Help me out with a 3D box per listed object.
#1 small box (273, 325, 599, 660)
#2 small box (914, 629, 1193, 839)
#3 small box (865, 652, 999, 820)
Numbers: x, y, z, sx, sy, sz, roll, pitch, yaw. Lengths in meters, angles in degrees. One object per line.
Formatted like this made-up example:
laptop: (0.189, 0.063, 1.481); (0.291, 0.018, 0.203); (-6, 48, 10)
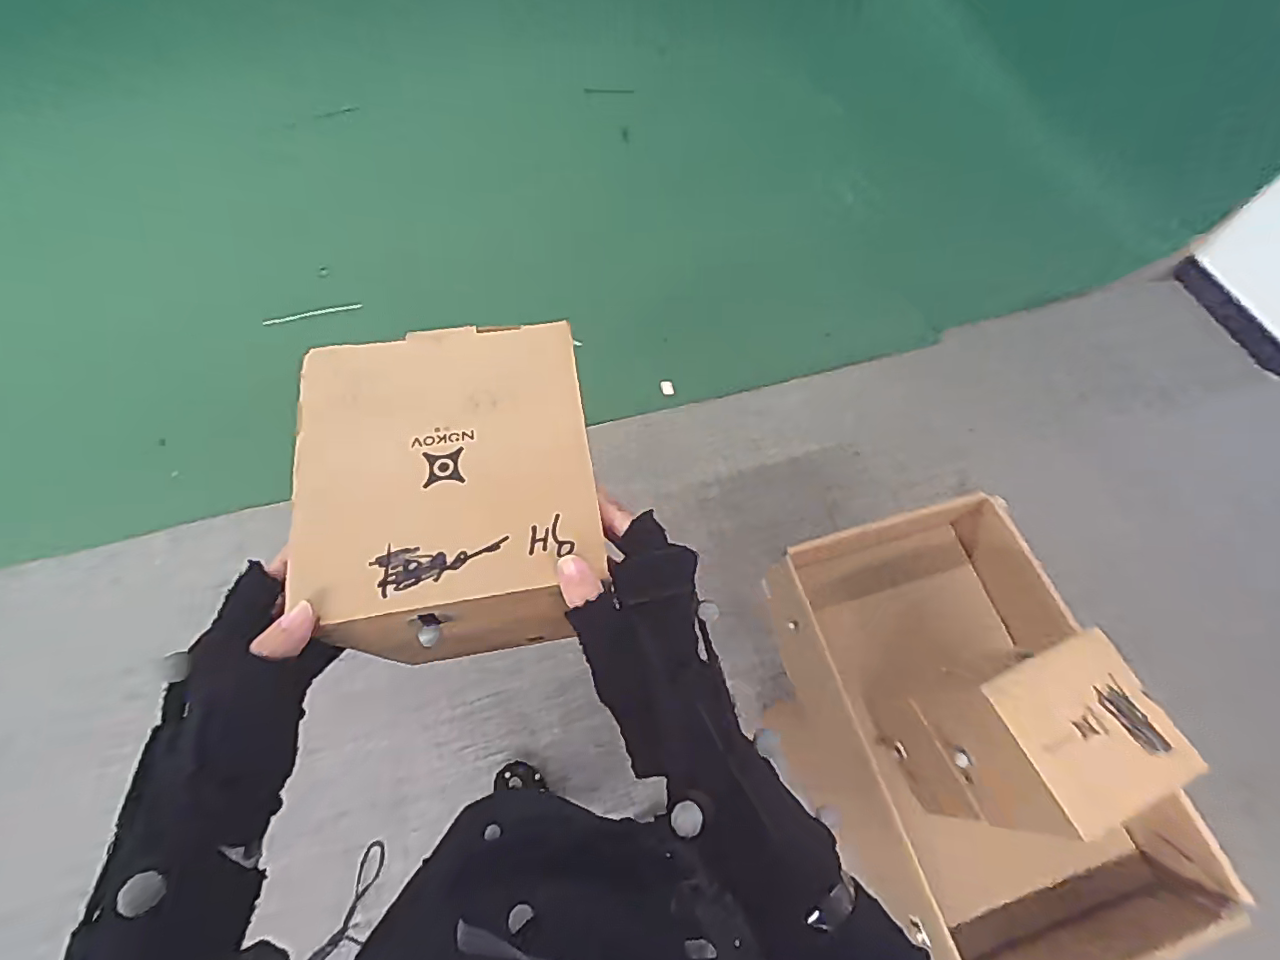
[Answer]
small box: (-0.124, 0.018, 0.391); (0.168, 0.176, 0.179); (-9, 65, -6)
small box: (0.486, 0.307, 0.669); (0.179, 0.176, 0.168); (-20, 64, -11)
small box: (0.480, 0.380, 0.816); (0.179, 0.176, 0.168); (-21, 65, -10)
